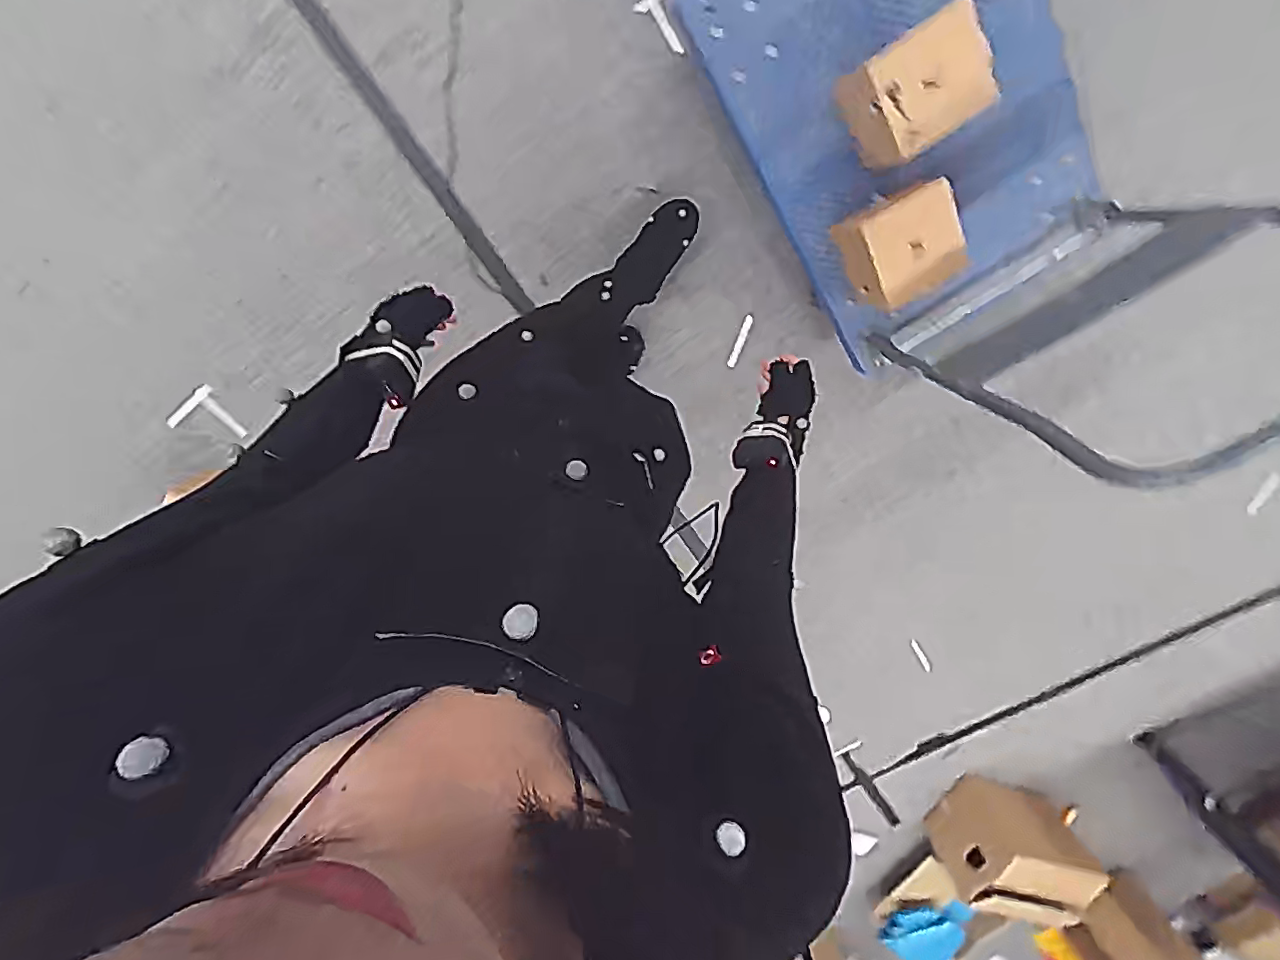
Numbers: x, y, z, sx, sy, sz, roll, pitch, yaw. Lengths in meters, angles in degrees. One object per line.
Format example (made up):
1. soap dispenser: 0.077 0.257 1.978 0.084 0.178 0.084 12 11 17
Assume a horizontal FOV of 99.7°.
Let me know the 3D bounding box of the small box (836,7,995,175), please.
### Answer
1. small box: 0.490 -0.688 0.983 0.179 0.176 0.168 -30 110 10

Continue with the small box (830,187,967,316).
1. small box: 0.511 -0.456 1.088 0.168 0.176 0.179 -28 110 8
